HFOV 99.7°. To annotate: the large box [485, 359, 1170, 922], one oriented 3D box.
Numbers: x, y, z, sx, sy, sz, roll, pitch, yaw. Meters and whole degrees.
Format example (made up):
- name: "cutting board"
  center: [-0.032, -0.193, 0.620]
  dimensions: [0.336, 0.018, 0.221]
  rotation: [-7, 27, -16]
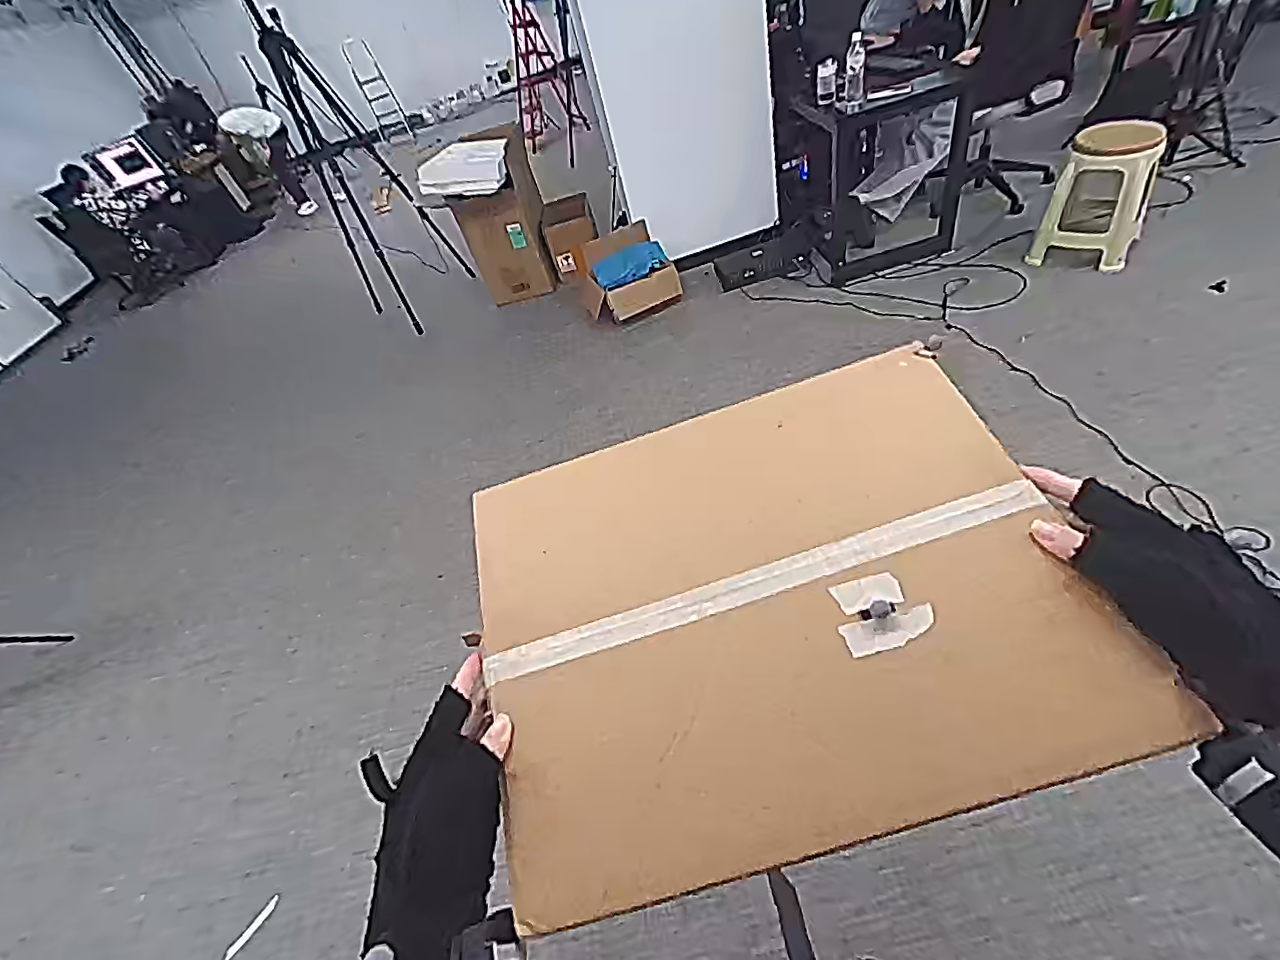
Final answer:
- name: "large box"
  center: [0.114, 0.154, 0.523]
  dimensions: [0.408, 0.320, 0.320]
  rotation: [-19, 58, 2]
